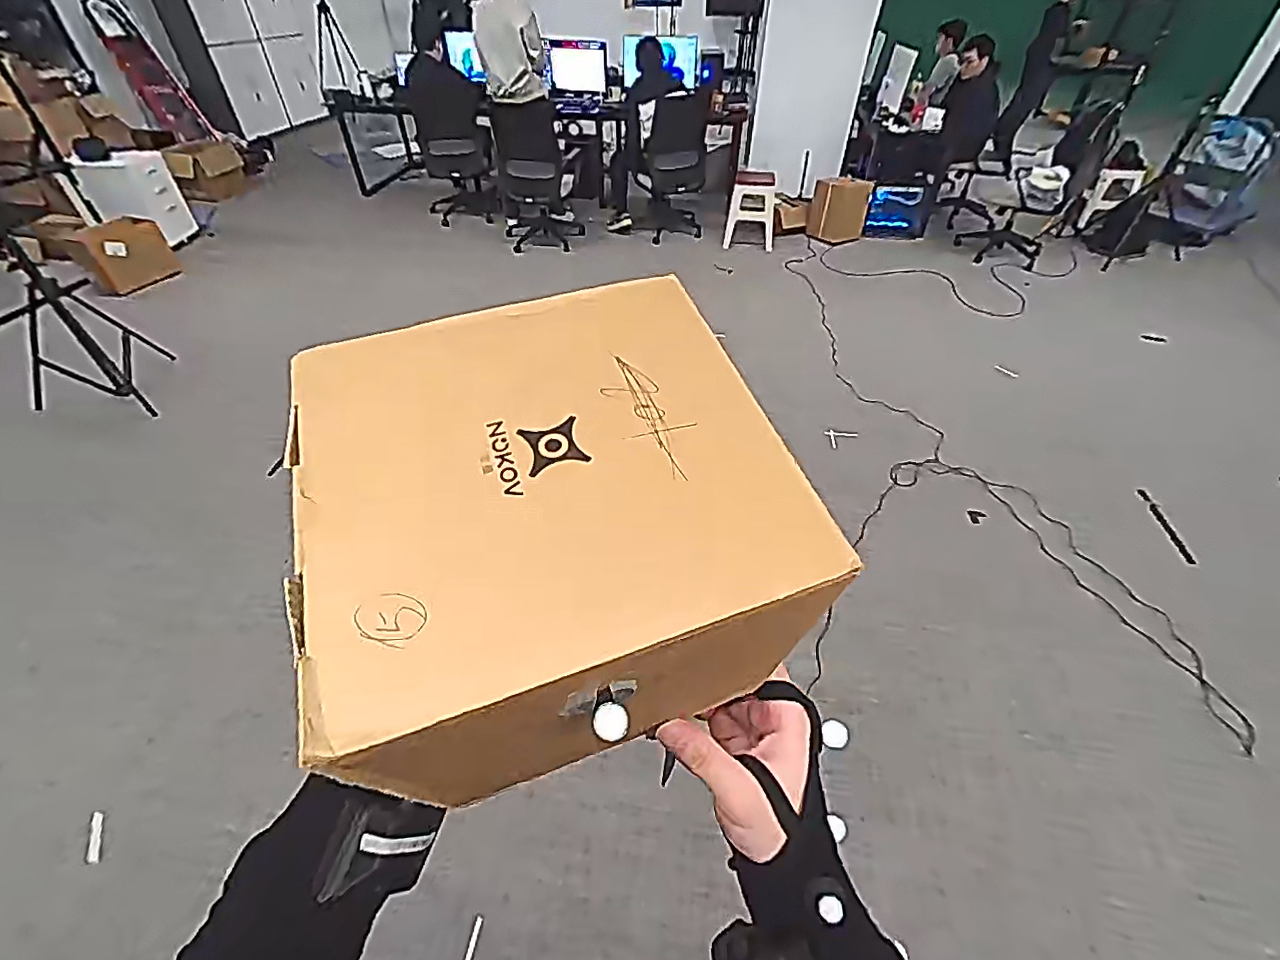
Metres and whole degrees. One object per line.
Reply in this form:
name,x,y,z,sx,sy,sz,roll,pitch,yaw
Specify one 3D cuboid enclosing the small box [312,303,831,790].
small box,-0.040,0.040,0.282,0.179,0.176,0.168,-15,58,-13
